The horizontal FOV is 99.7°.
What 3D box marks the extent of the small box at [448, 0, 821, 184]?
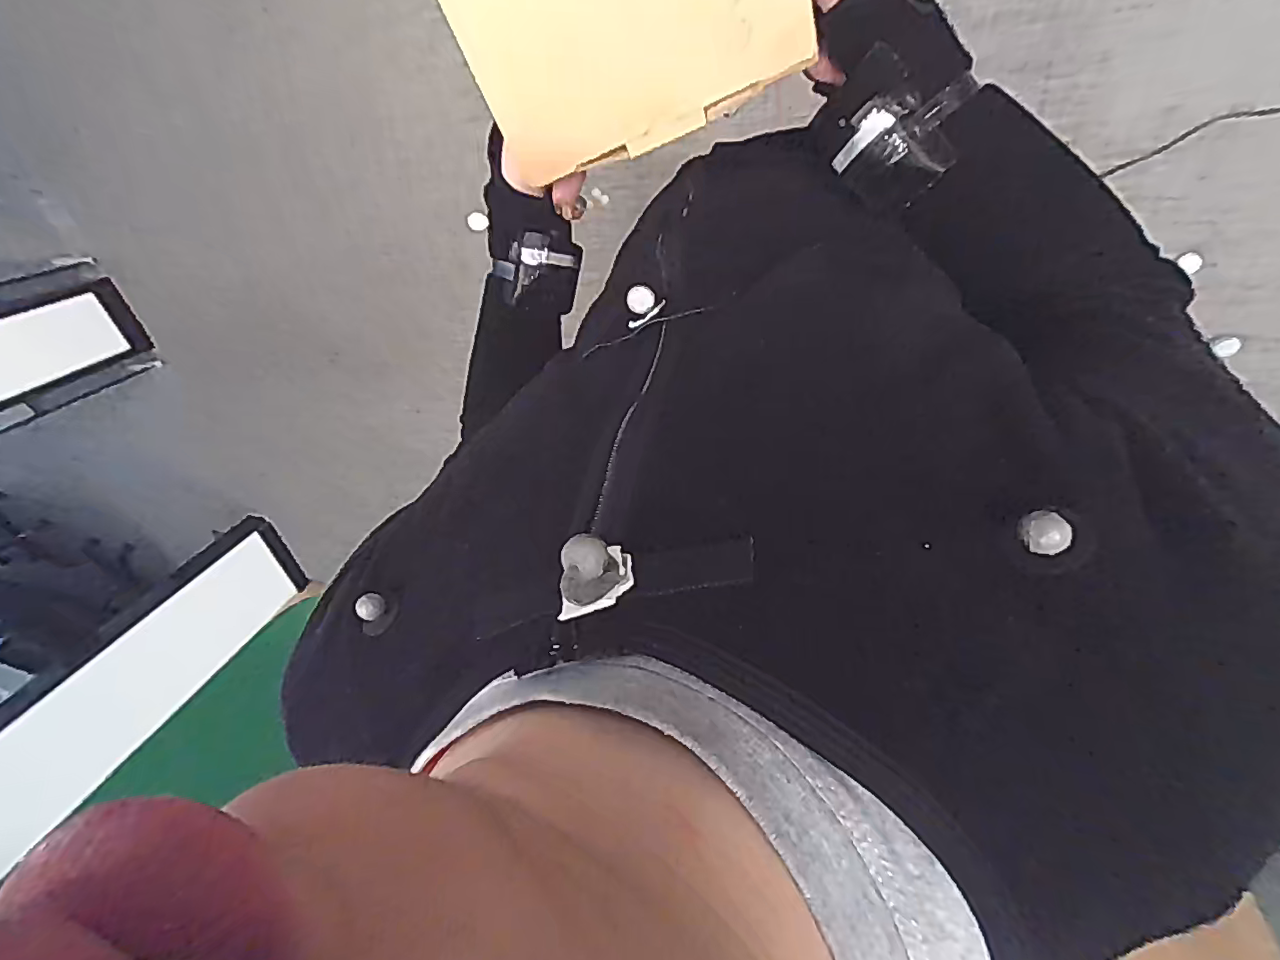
[{"bbox_3d":[-0.009,-0.301,0.296,0.168,0.176,0.179,-15,126,18],"label":"small box"}]
